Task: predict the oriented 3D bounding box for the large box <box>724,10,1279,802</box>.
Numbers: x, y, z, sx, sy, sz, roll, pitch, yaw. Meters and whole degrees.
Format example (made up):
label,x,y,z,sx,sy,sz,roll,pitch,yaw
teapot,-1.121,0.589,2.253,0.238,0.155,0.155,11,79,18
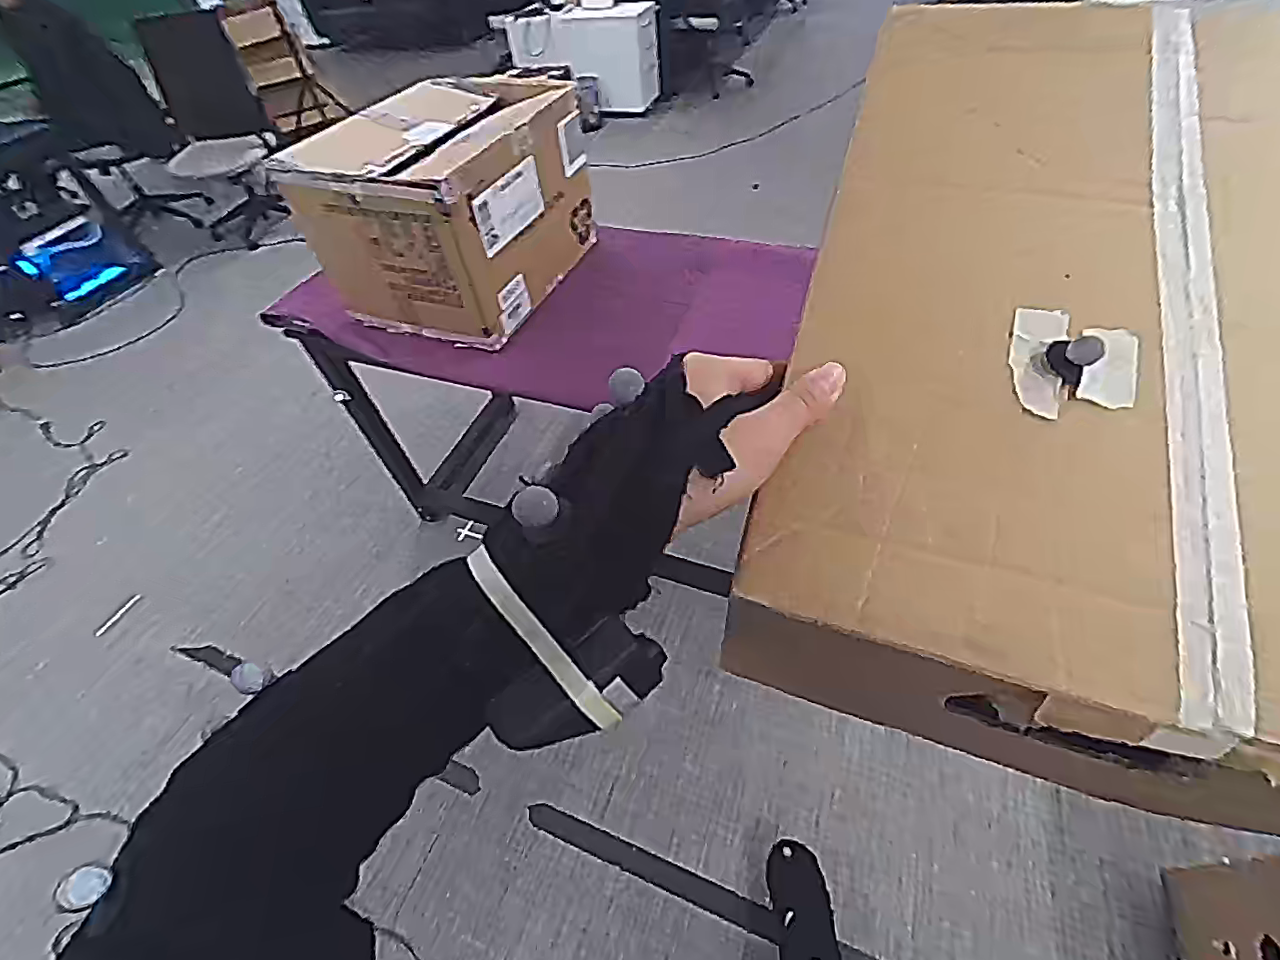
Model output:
label,x,y,z,sx,sy,sz,roll,pitch,yaw
large box,0.257,-0.039,0.391,0.320,0.320,0.408,13,69,13
